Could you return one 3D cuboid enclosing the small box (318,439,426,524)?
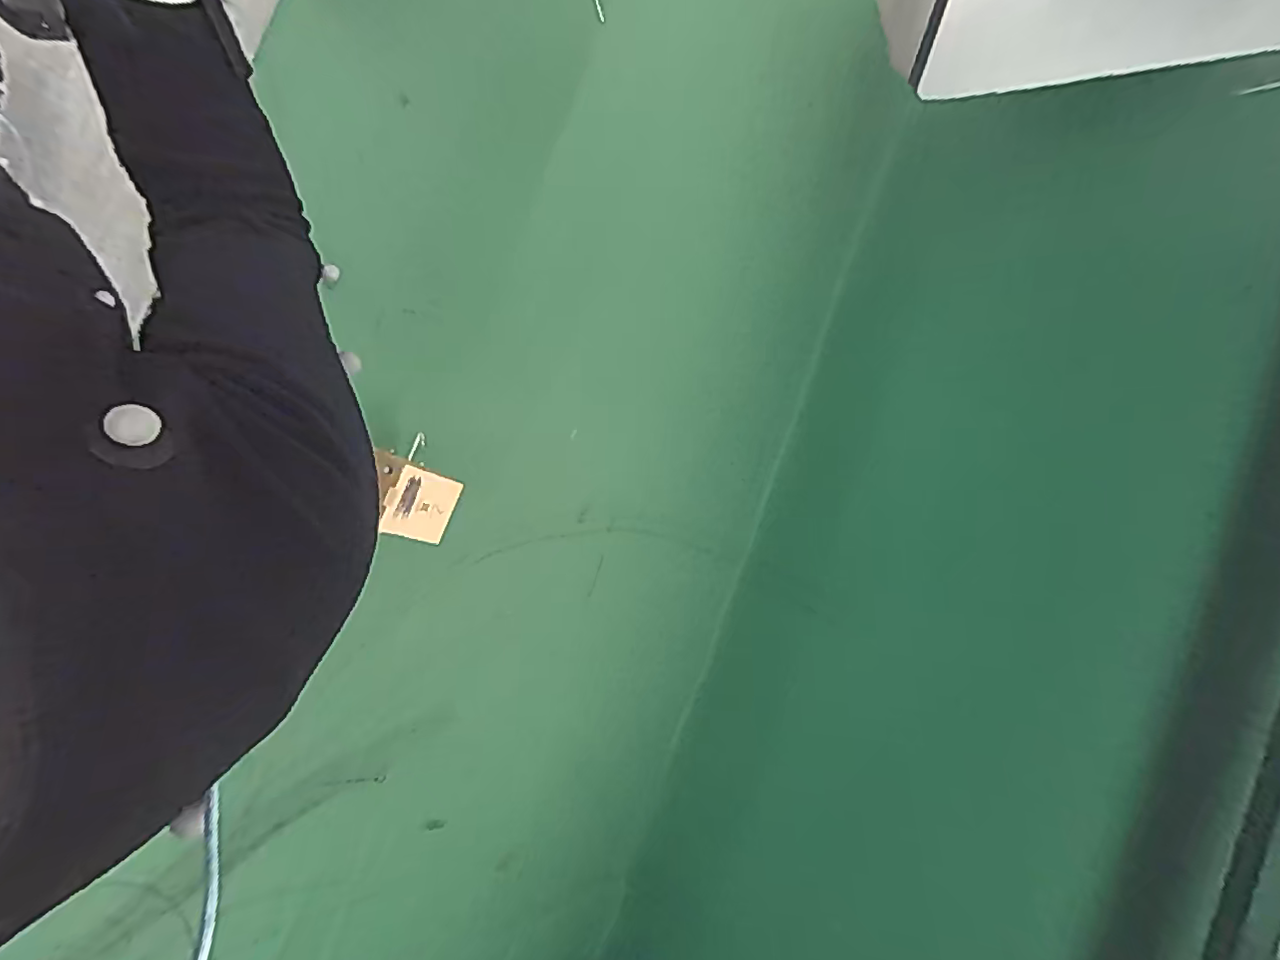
[{"bbox_3d":[-0.720,0.000,1.448,0.179,0.176,0.168,29,82,-53],"label":"small box"}]
